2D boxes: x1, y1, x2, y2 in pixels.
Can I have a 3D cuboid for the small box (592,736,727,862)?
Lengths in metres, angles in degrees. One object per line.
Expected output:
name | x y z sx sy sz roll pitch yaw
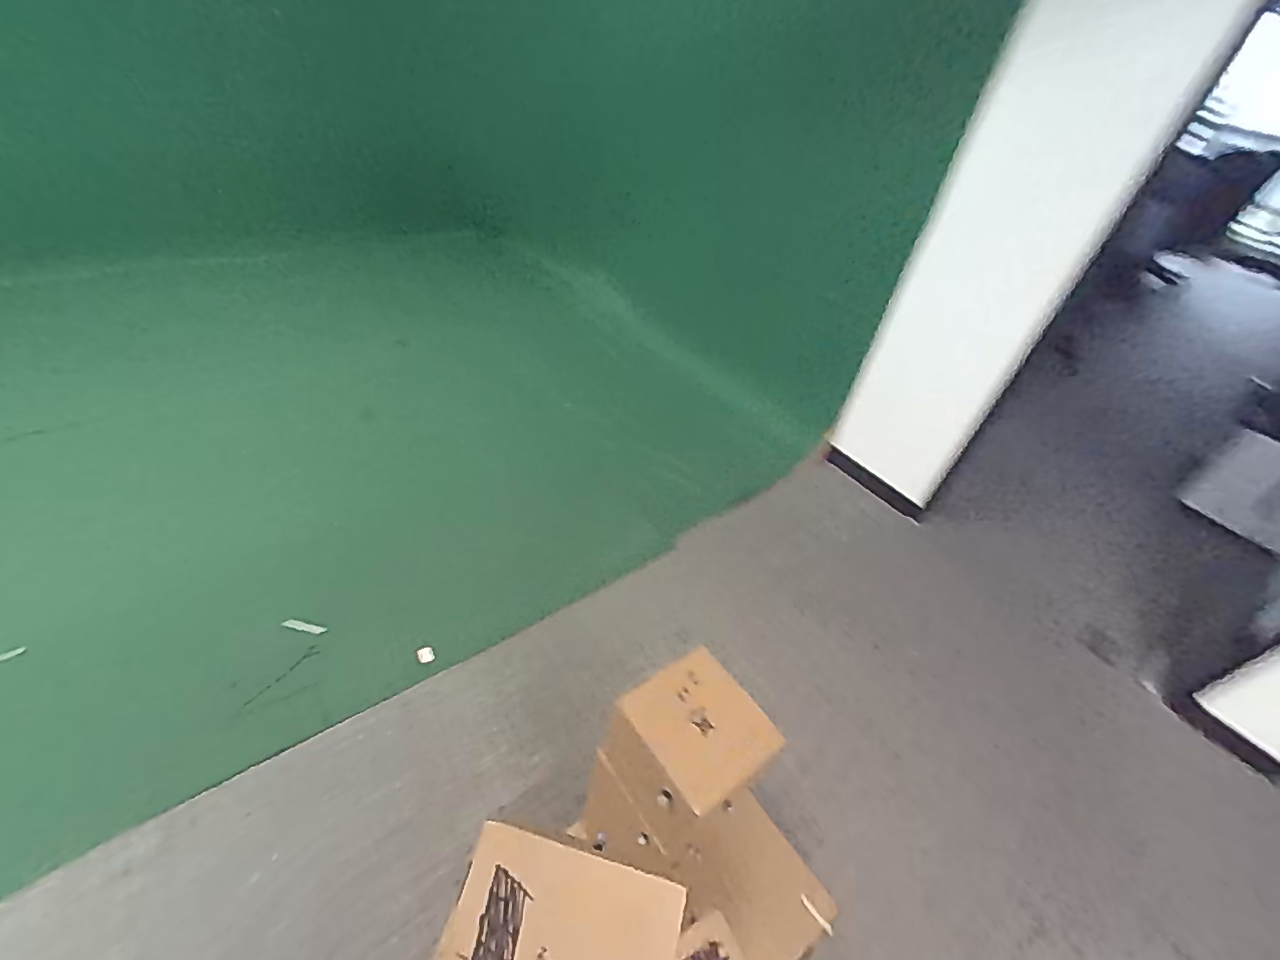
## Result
small box | 0.036 0.497 0.896 0.168 0.176 0.179 -21 52 -33

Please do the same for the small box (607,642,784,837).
small box | 0.069 0.380 0.785 0.168 0.176 0.179 -20 50 -32

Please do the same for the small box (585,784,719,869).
small box | 0.014 0.622 0.999 0.168 0.176 0.179 -23 51 -33

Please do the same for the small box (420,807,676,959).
small box | -0.077 0.402 0.468 0.179 0.176 0.168 13 59 6
